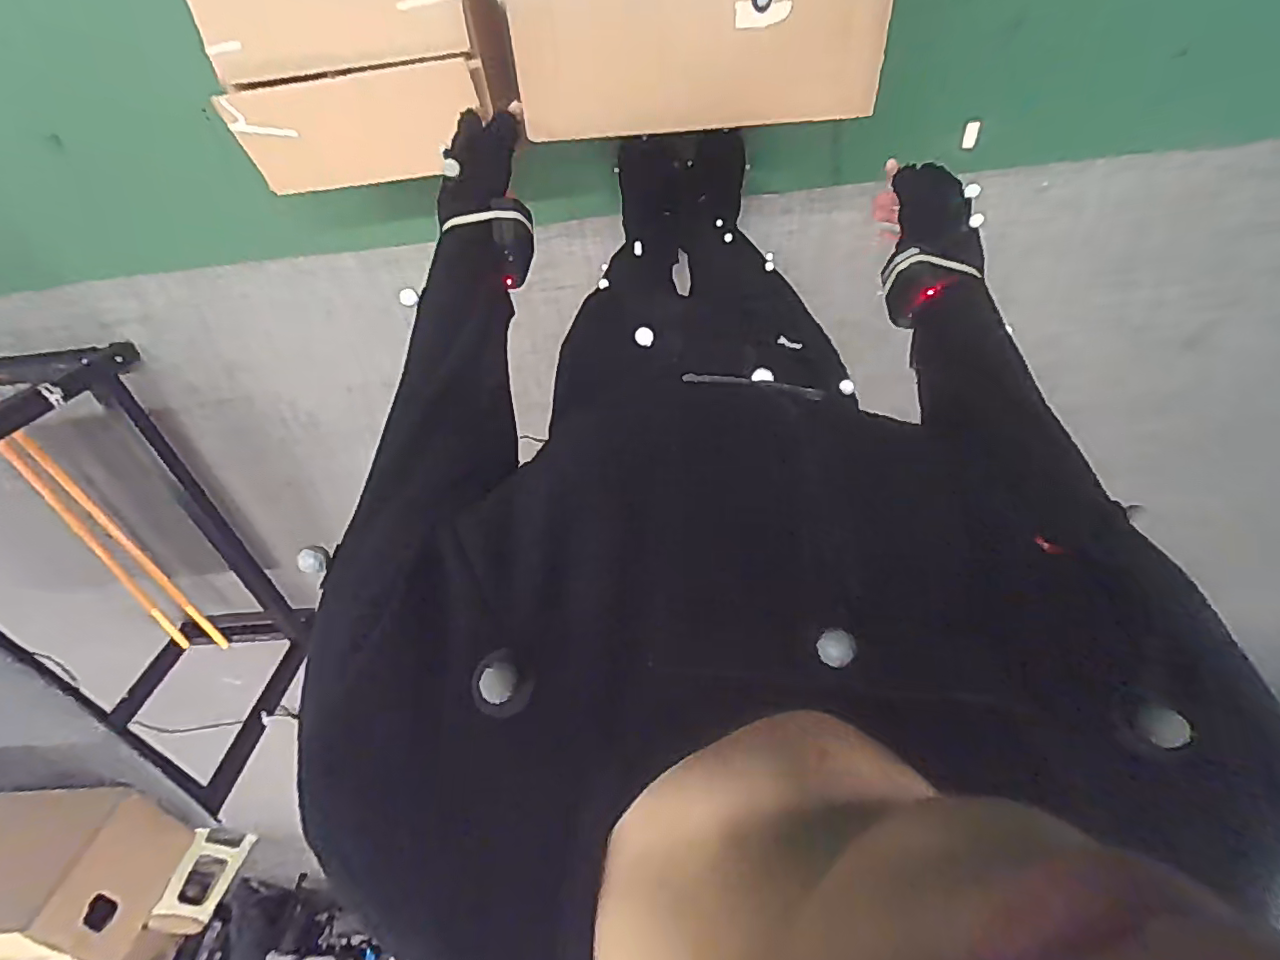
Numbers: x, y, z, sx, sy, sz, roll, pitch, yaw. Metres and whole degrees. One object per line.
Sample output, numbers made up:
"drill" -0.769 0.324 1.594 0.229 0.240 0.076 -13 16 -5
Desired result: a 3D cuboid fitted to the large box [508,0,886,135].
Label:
"large box" 0.052 -0.630 0.651 0.408 0.320 0.320 -4 128 1
